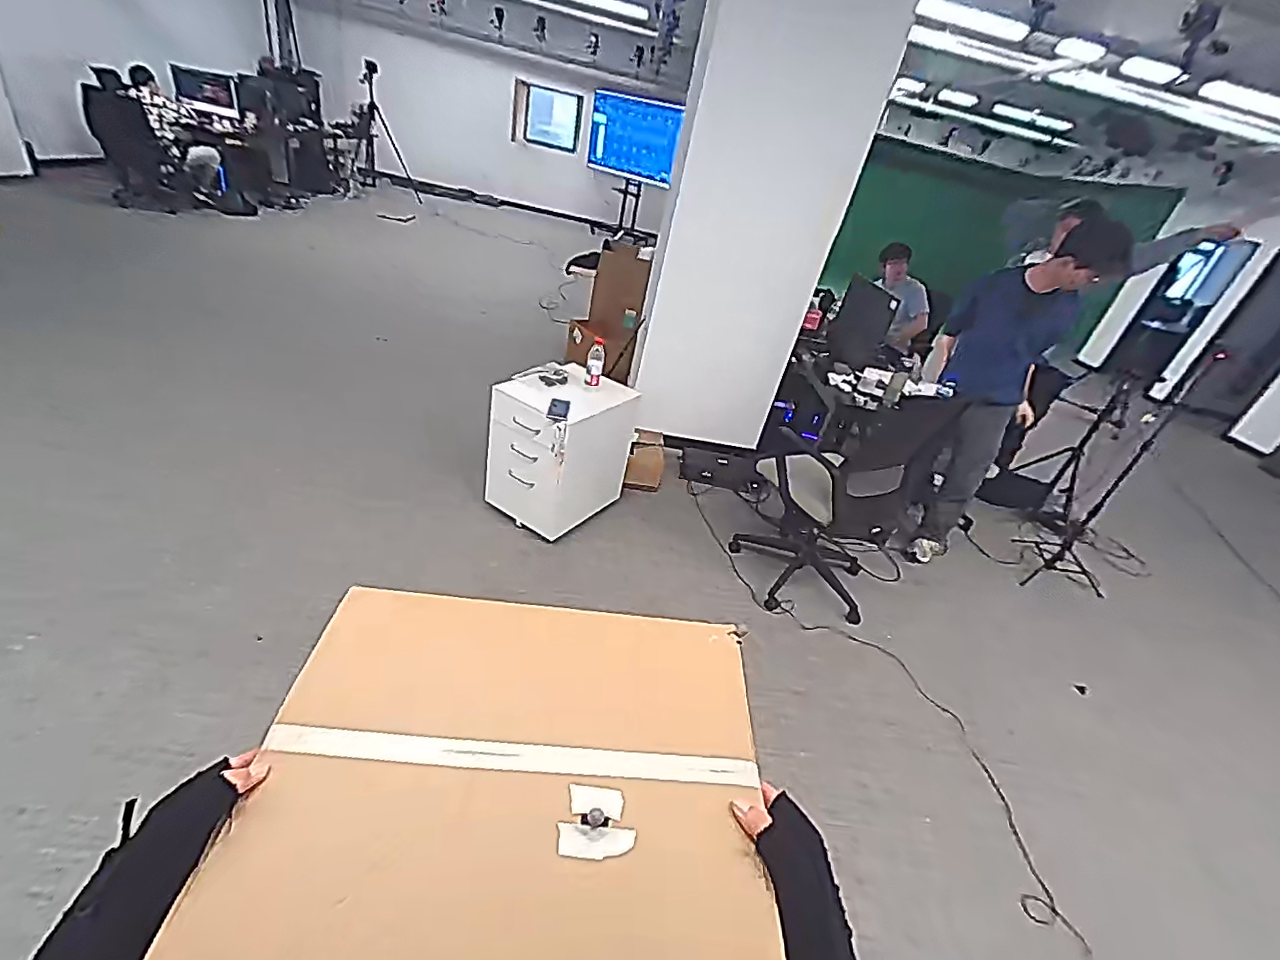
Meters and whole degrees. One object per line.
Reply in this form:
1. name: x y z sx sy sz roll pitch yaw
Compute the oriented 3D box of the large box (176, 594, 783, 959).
1. large box: -0.118 0.350 0.554 0.408 0.320 0.320 7 40 -5
